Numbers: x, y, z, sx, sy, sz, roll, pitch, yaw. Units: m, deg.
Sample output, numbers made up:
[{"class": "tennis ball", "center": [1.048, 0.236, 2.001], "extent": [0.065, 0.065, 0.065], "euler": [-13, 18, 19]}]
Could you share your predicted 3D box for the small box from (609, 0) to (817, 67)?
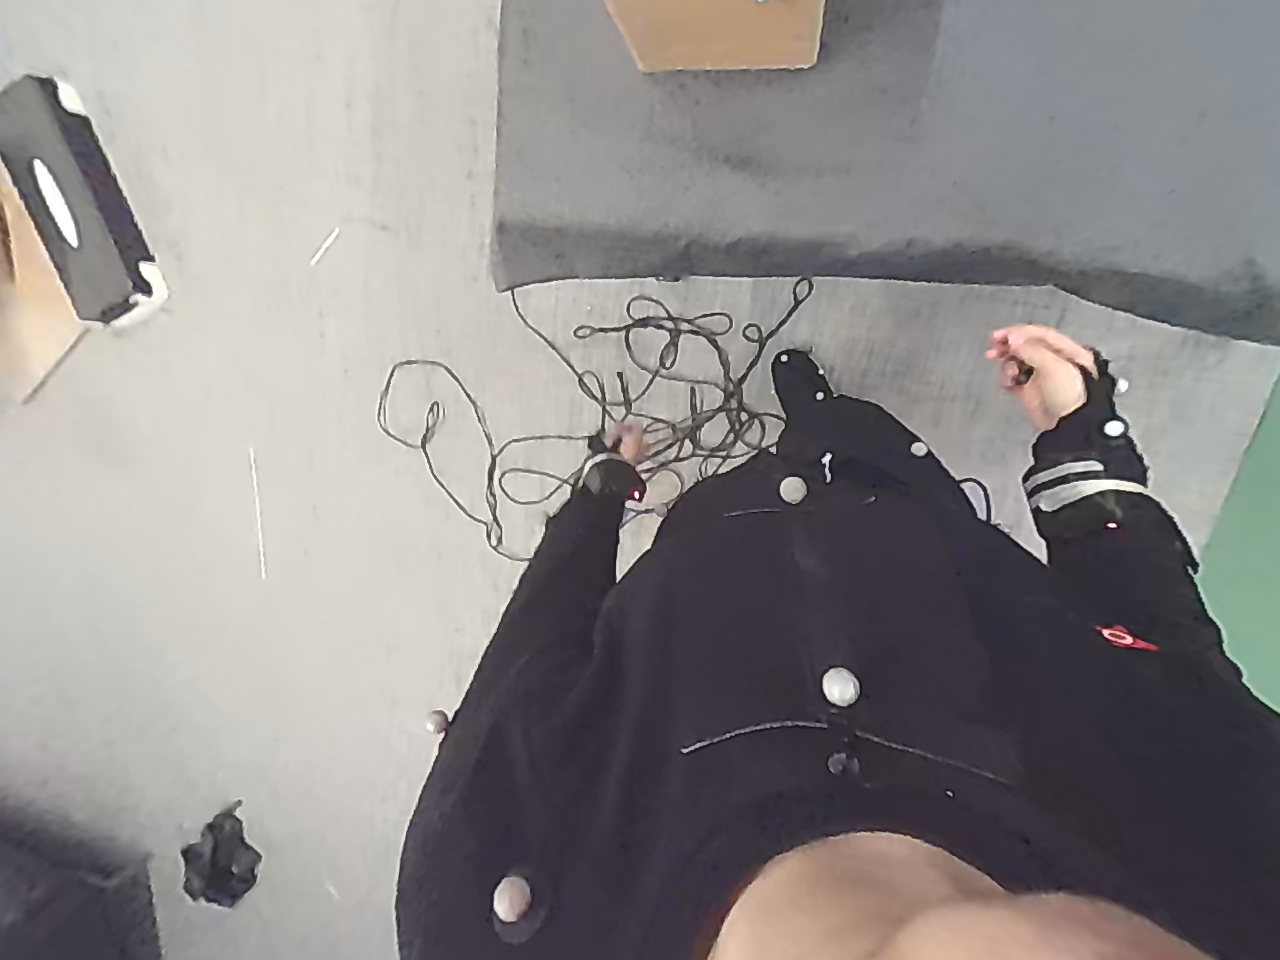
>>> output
[{"class": "small box", "center": [0.062, -0.466, 0.436], "extent": [0.179, 0.176, 0.168], "euler": [8, 105, 12]}]
